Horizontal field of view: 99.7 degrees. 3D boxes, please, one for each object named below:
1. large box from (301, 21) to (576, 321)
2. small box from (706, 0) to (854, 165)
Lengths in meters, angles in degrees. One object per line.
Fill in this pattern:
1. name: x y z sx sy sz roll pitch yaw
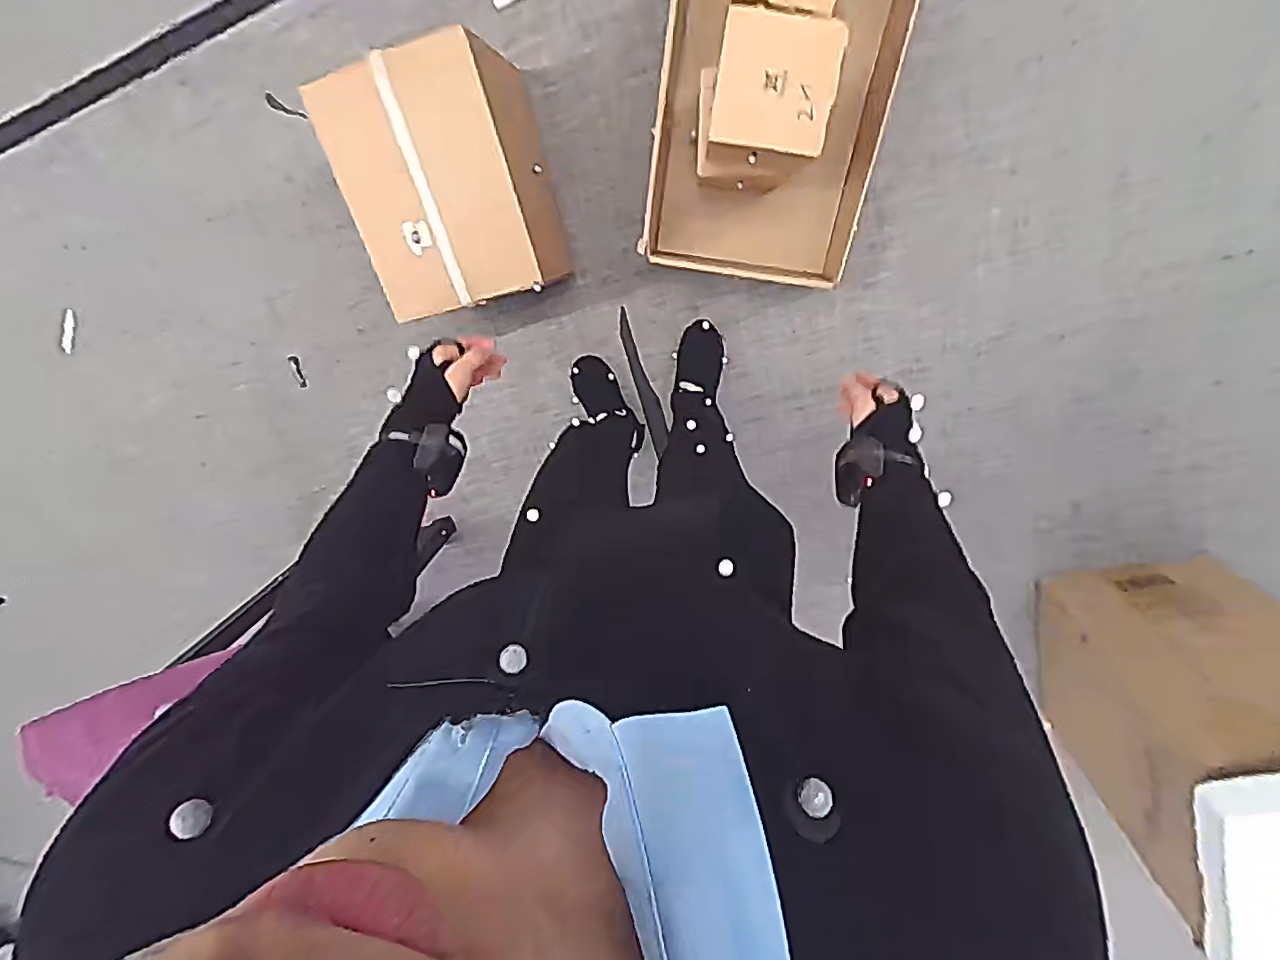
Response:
1. large box: -0.356 -0.580 1.081 0.320 0.320 0.408 -11 115 12
2. small box: 0.203 -0.606 0.846 0.179 0.176 0.168 10 114 1
